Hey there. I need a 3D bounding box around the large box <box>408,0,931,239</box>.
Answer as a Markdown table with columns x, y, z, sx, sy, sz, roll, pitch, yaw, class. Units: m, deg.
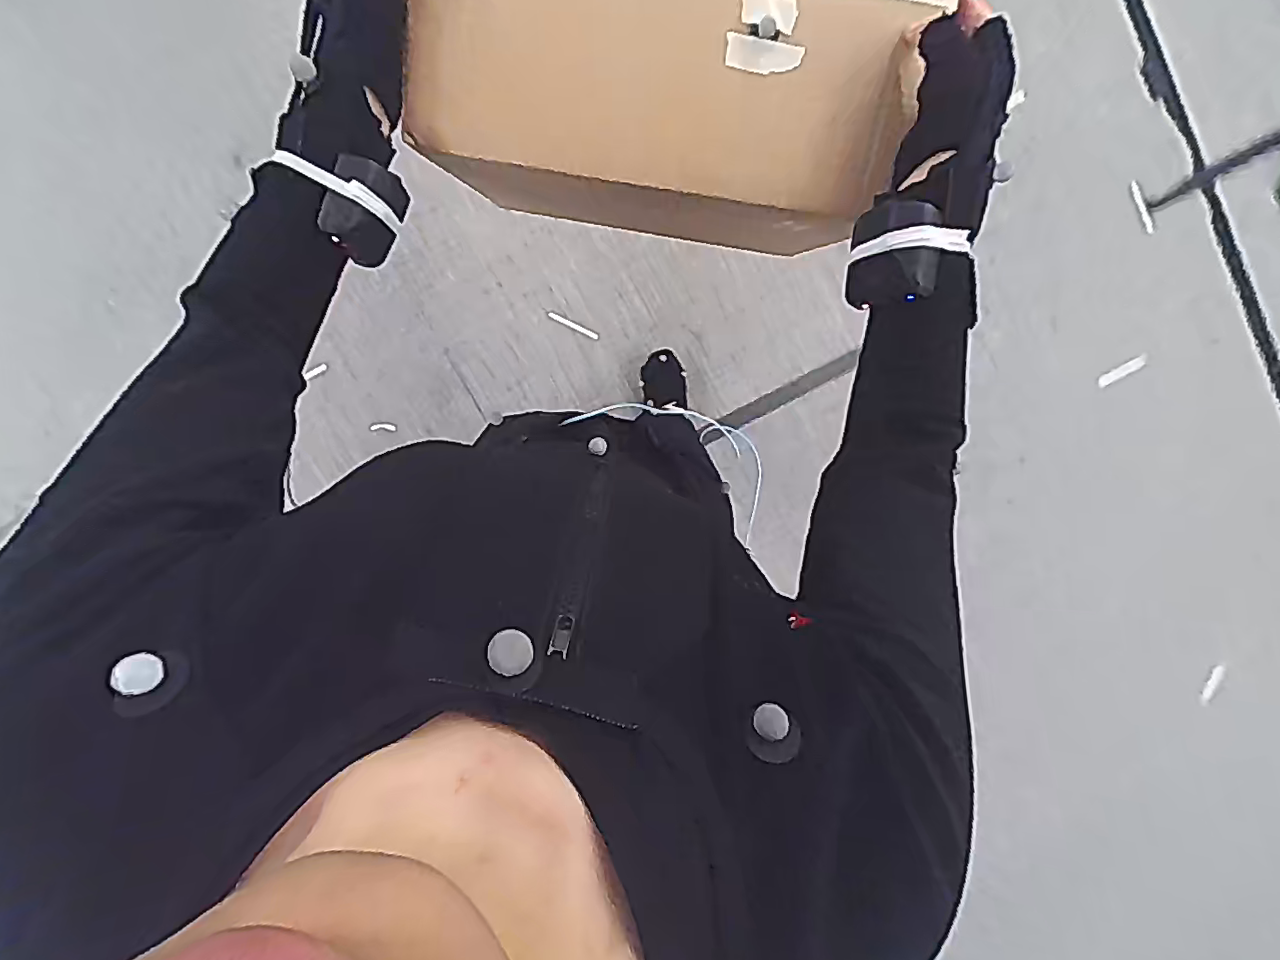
| x | y | z | sx | sy | sz | roll | pitch | yaw | class |
| --- | --- | --- | --- | --- | --- | --- | --- | --- | --- |
| 0.024 | -0.445 | 0.540 | 0.408 | 0.320 | 0.320 | 7 | 109 | -3 | large box |
